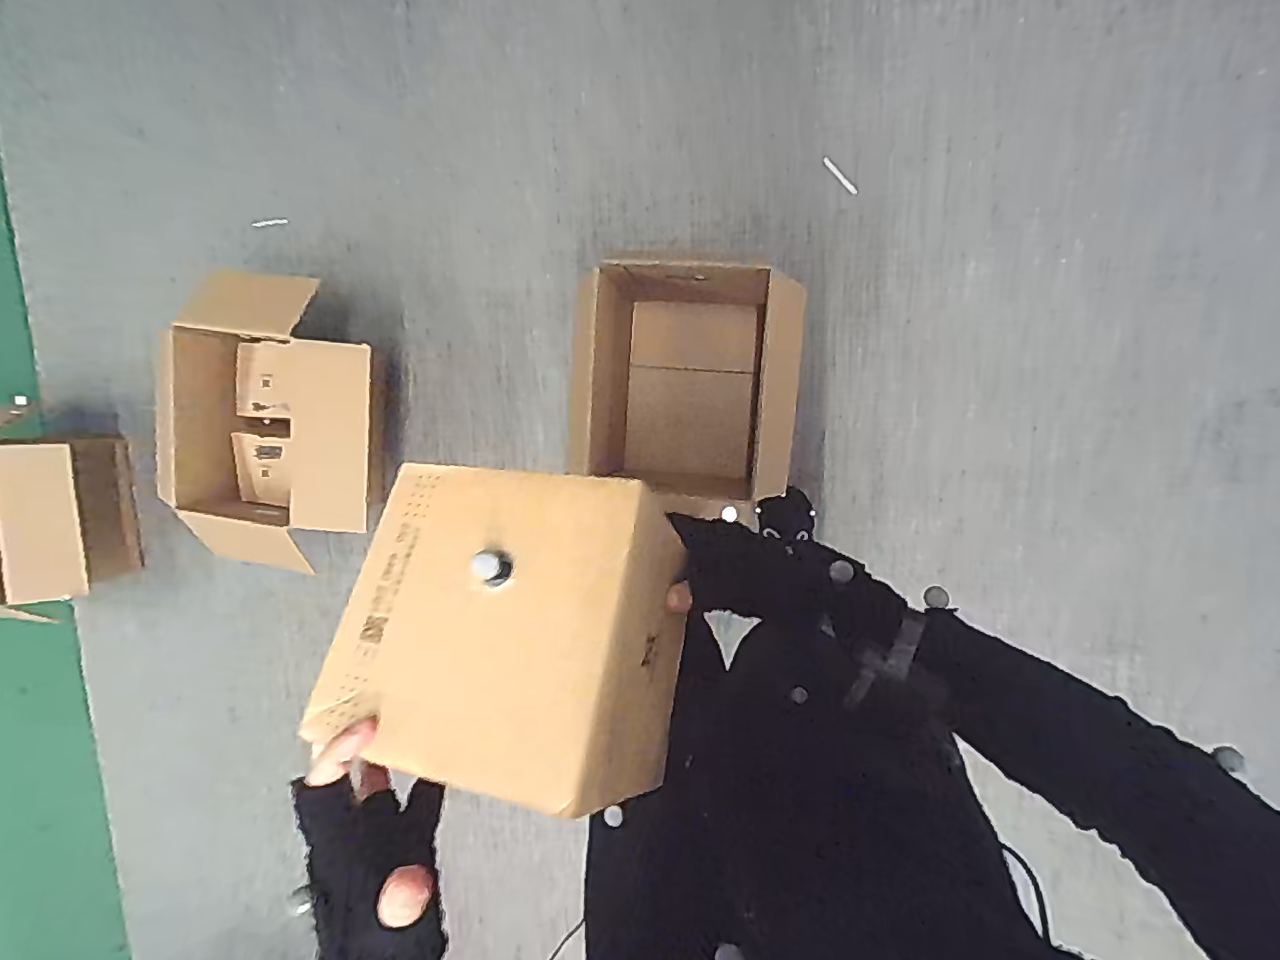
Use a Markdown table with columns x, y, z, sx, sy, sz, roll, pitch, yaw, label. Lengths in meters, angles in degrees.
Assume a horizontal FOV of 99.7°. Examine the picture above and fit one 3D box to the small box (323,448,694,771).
| x | y | z | sx | sy | sz | roll | pitch | yaw | label |
| --- | --- | --- | --- | --- | --- | --- | --- | --- | --- |
| -0.068 | 0.086 | 0.370 | 0.176 | 0.179 | 0.168 | 5 | 68 | 17 | small box |
